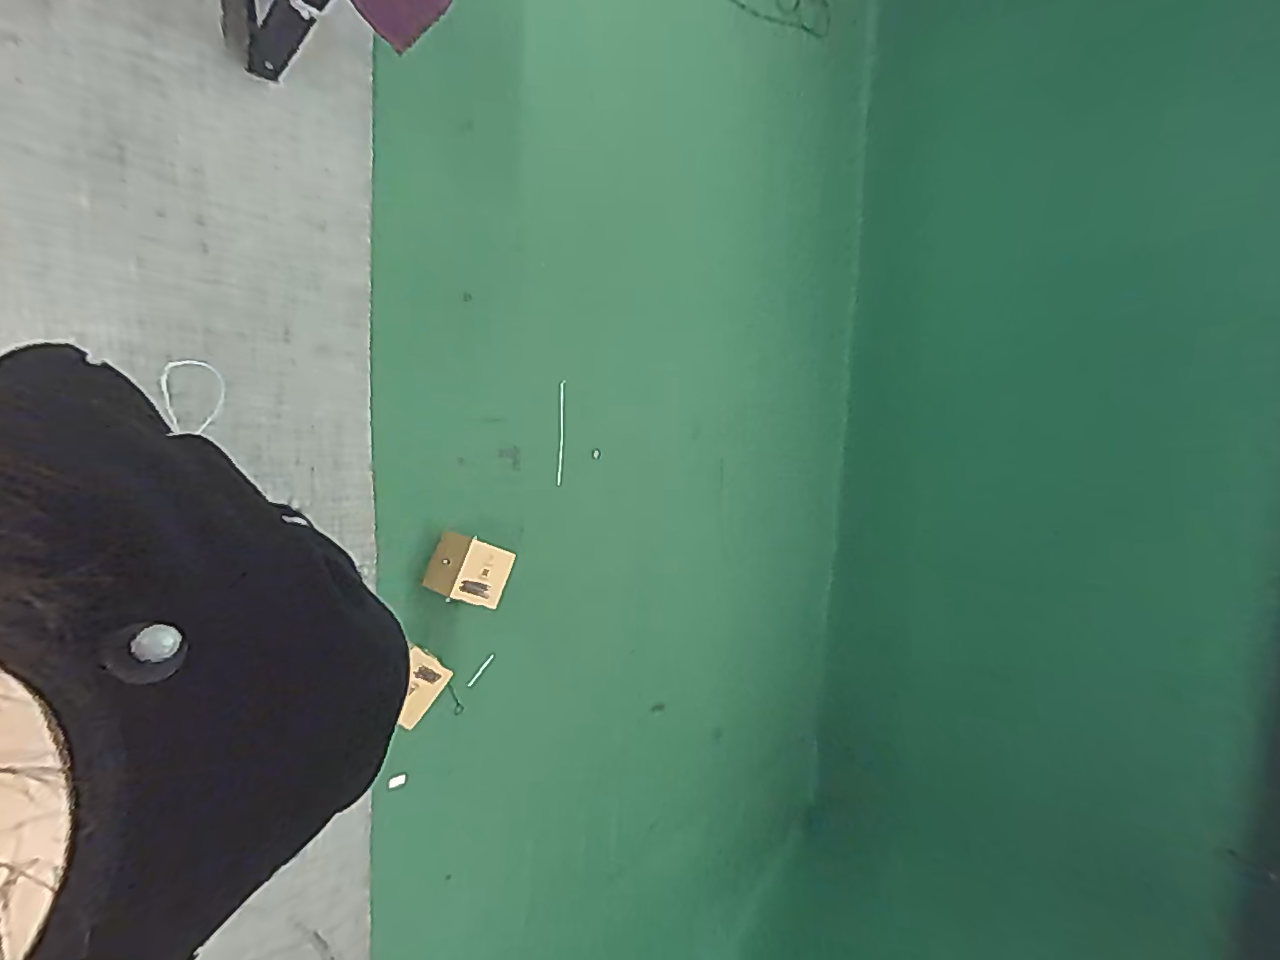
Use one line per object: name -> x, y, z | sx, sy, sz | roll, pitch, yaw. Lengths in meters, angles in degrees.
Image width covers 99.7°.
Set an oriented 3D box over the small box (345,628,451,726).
small box -> -0.673, 0.539, 1.500 | 0.179, 0.176, 0.168 | -54, 131, -27
